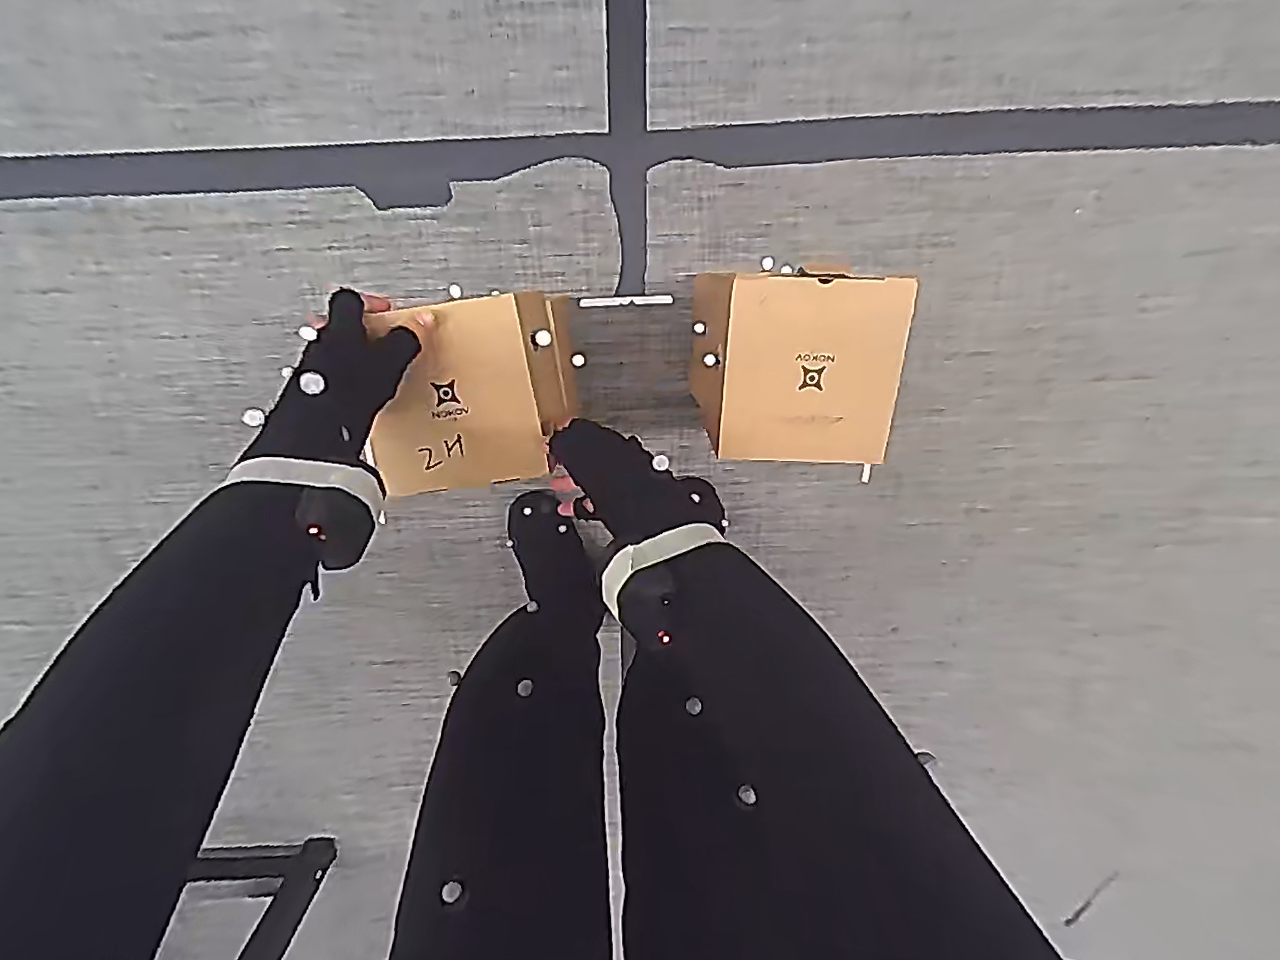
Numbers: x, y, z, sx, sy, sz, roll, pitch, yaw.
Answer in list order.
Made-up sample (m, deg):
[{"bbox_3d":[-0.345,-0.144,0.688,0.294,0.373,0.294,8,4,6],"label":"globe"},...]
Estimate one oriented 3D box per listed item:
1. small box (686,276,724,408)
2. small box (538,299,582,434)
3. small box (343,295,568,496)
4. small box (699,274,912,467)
[{"bbox_3d":[0.165,-0.186,0.737,0.179,0.176,0.168,2,110,-3],"label":"small box"},{"bbox_3d":[-0.181,-0.154,0.741,0.179,0.176,0.168,-6,110,0],"label":"small box"},{"bbox_3d":[-0.179,-0.100,0.585,0.168,0.176,0.179,-7,110,2],"label":"small box"},{"bbox_3d":[0.159,-0.126,0.586,0.168,0.176,0.179,2,111,-1],"label":"small box"}]
